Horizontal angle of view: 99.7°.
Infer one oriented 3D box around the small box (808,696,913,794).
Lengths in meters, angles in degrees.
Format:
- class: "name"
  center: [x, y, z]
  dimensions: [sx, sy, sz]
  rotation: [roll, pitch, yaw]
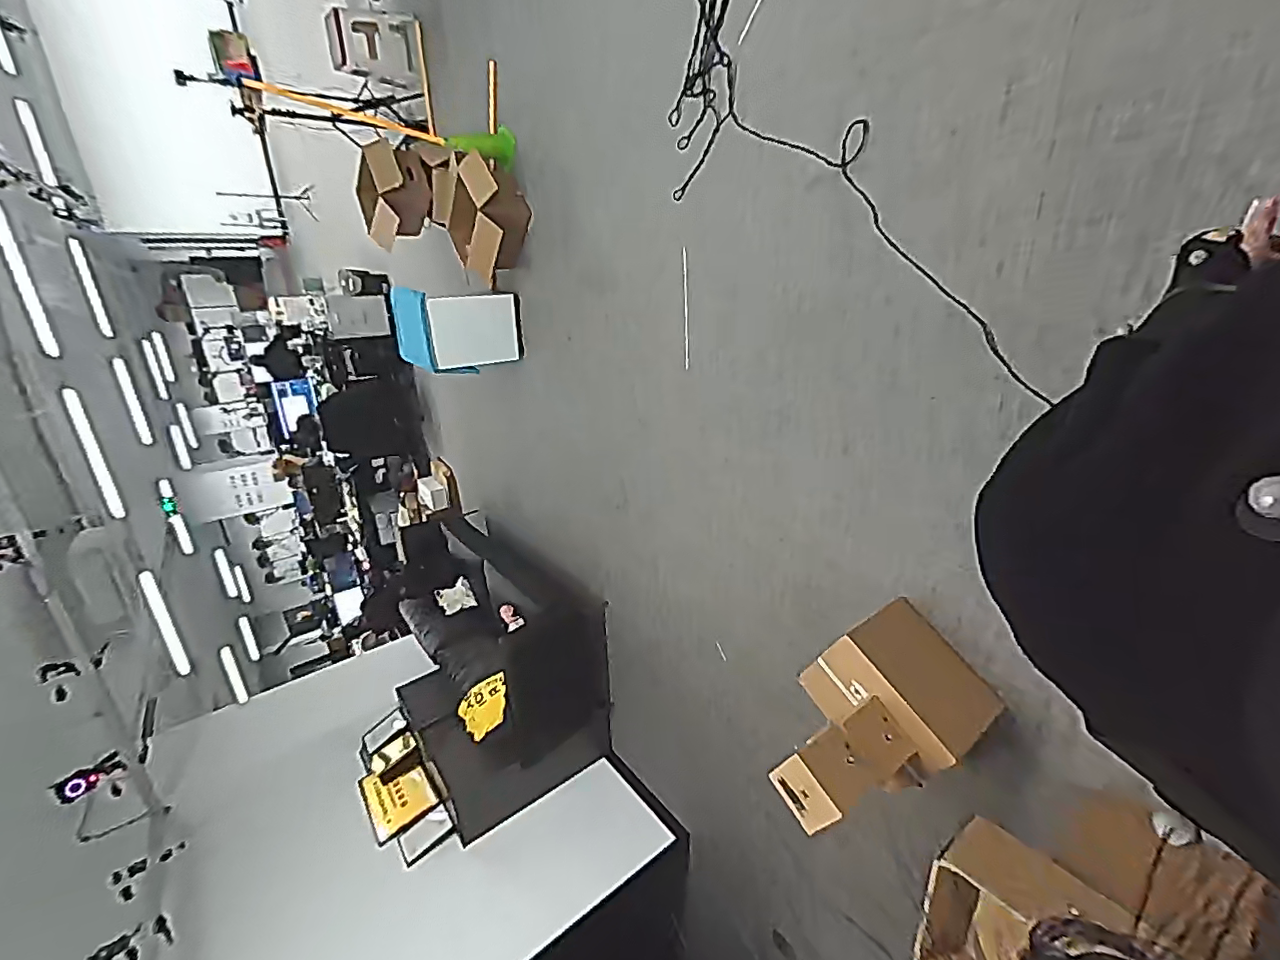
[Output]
- class: "small box"
  center: [0.614, 0.733, 1.504]
  dimensions: [0.168, 0.176, 0.179]
  rotation: [55, 142, 25]
